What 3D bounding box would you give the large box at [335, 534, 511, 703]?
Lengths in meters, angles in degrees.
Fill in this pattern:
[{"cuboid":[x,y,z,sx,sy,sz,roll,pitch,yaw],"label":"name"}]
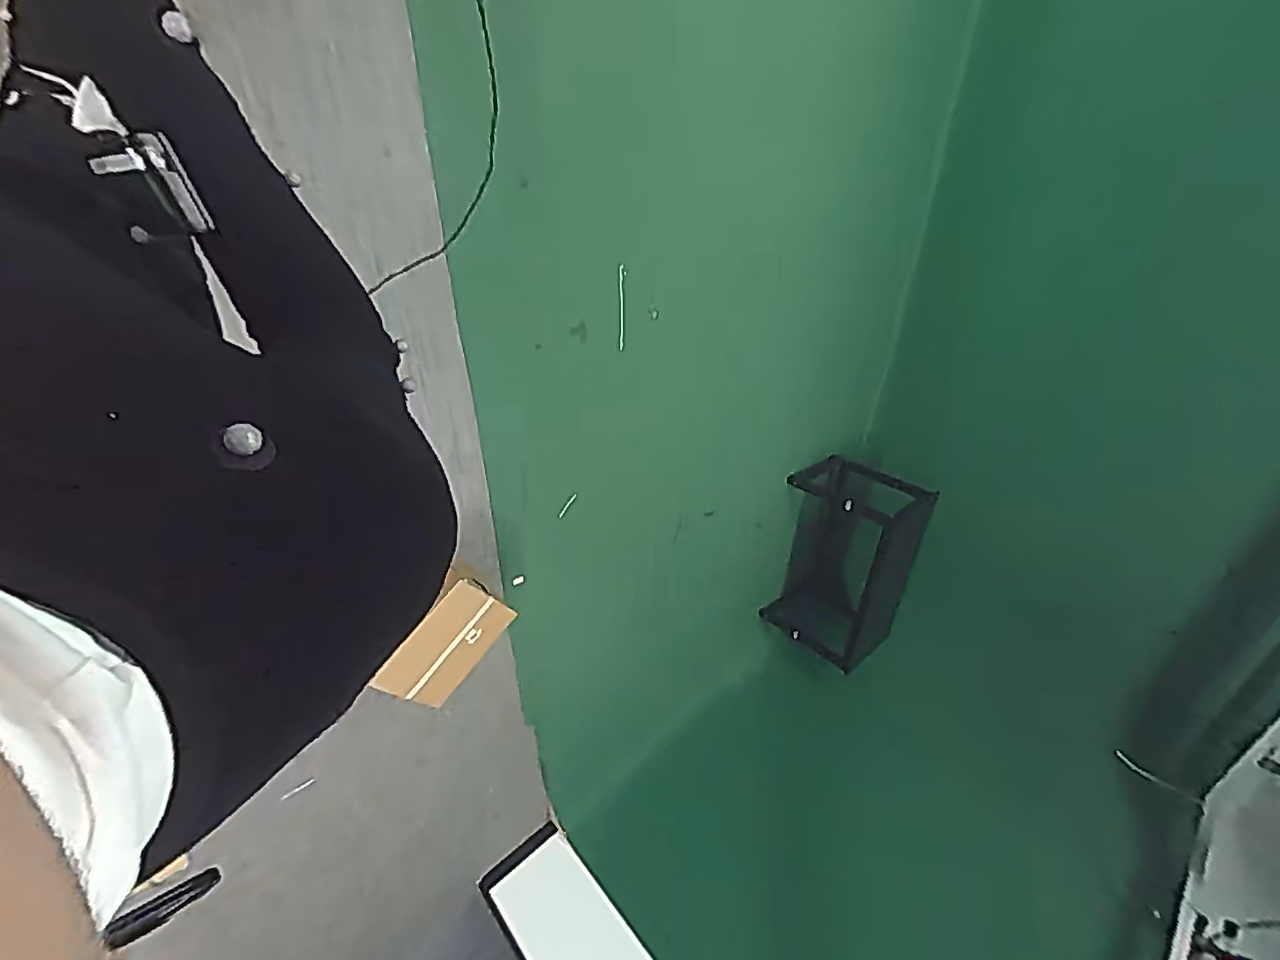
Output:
[{"cuboid":[-0.735,0.468,1.841,0.408,0.320,0.320,-51,141,-12],"label":"large box"}]
